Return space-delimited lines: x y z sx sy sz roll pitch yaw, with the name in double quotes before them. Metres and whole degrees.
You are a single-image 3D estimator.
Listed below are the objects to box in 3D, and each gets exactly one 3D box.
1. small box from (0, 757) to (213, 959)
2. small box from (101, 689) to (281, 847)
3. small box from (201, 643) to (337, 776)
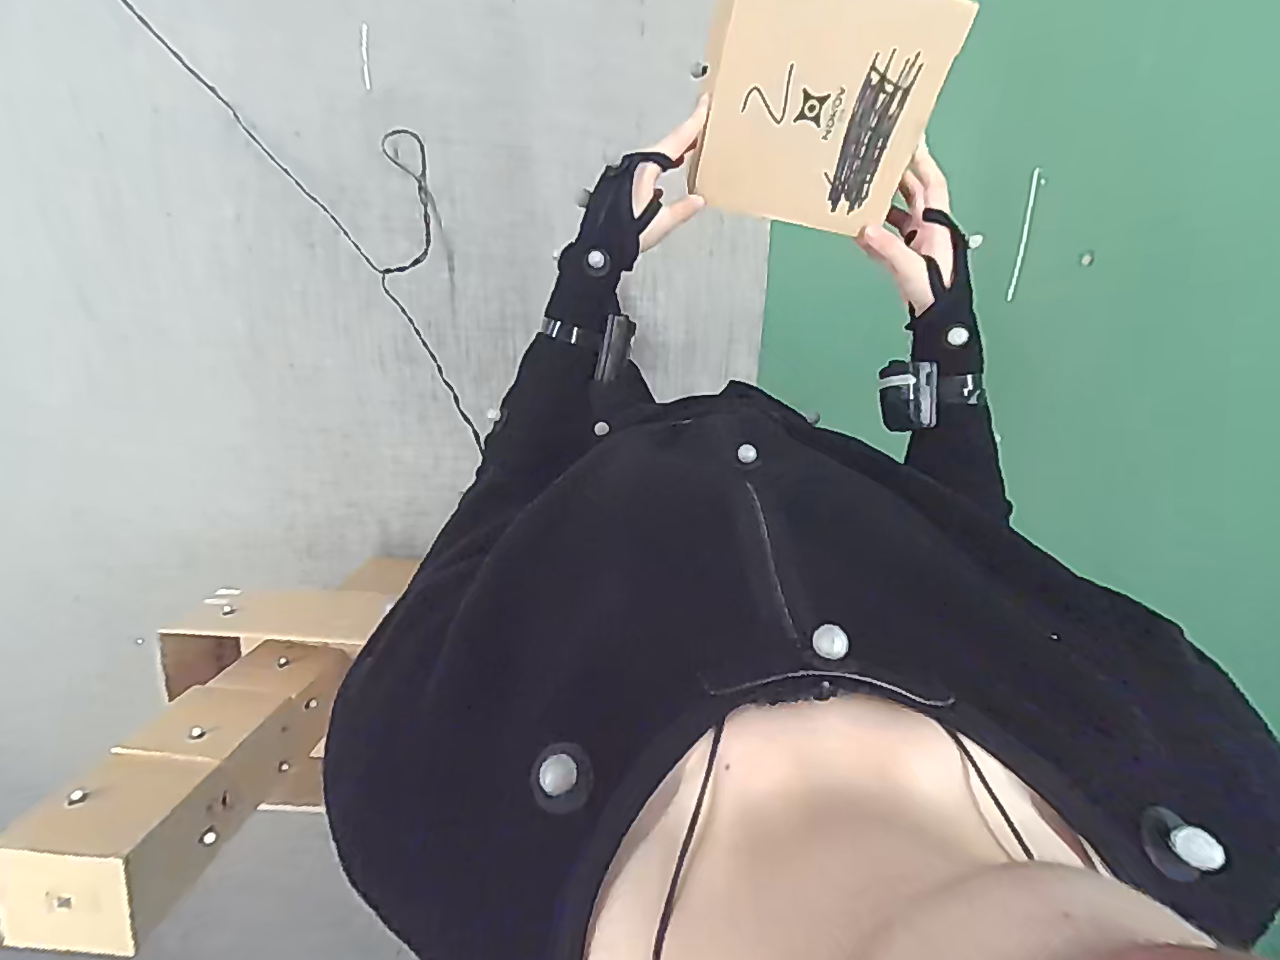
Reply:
"small box" -0.756 0.522 0.765 0.179 0.176 0.168 8 102 -2
"small box" -0.749 0.480 0.922 0.179 0.176 0.168 8 102 -1
"small box" -0.735 0.450 1.083 0.168 0.176 0.179 9 102 -2
